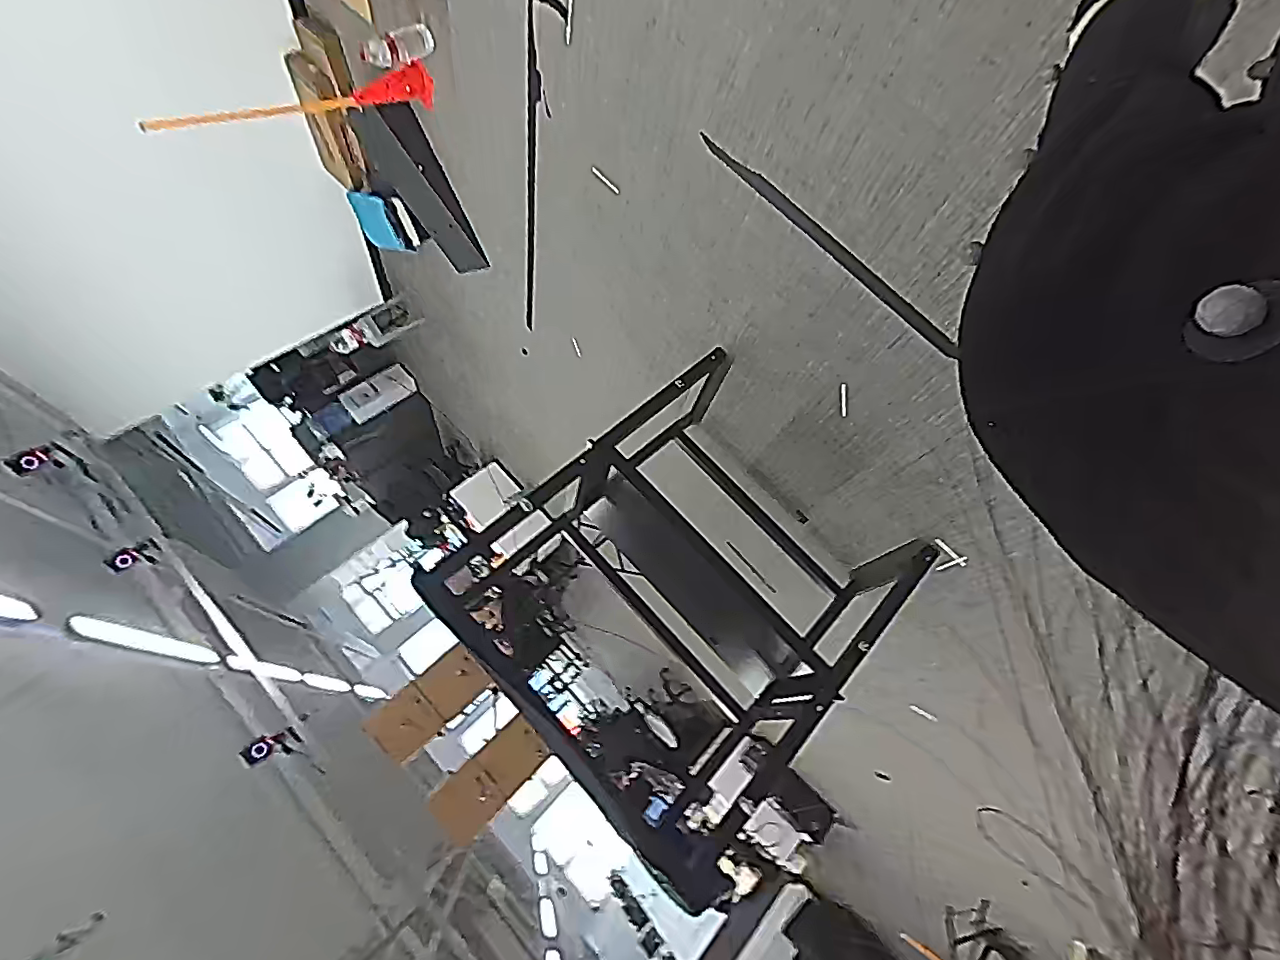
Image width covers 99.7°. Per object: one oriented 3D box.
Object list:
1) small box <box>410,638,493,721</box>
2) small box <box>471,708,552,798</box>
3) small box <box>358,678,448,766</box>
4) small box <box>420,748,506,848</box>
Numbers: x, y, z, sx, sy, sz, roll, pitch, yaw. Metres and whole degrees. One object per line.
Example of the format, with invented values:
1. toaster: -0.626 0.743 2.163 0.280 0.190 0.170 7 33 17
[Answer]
1. small box: -0.565 0.604 1.647 0.168 0.176 0.179 45 156 8
2. small box: -0.376 0.799 1.603 0.168 0.176 0.179 46 158 9
3. small box: -0.682 0.700 1.582 0.168 0.176 0.179 47 156 7
4. small box: -0.493 0.894 1.541 0.168 0.176 0.179 46 156 8
